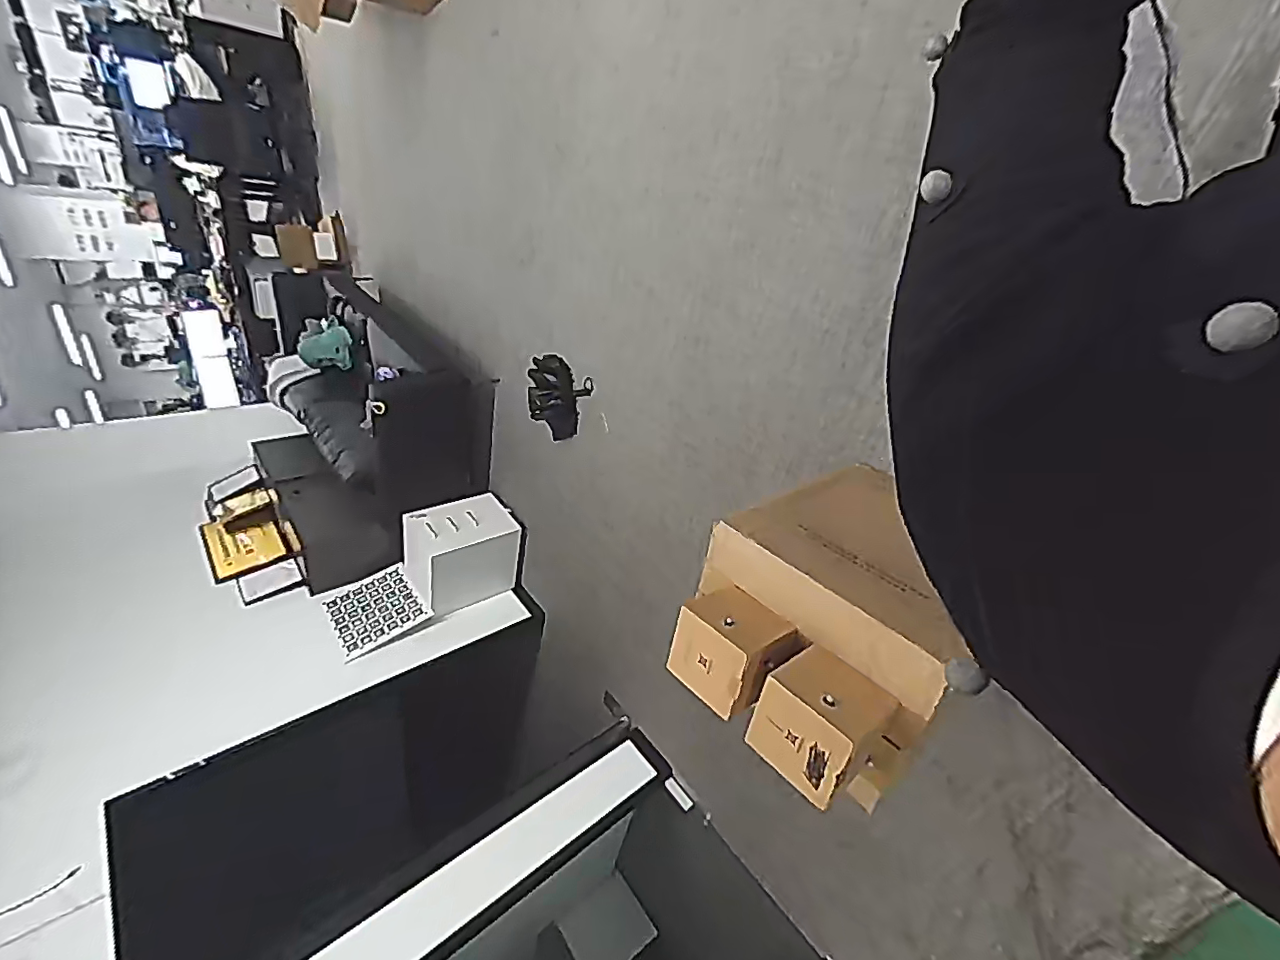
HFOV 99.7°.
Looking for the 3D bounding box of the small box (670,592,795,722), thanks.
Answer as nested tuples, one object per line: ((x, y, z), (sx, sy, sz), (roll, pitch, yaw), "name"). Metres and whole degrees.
((0.193, 0.354, 1.122), (0.179, 0.176, 0.168), (31, 119, 41), "small box")

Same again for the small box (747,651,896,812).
((0.332, 0.443, 0.985), (0.179, 0.176, 0.168), (32, 120, 40), "small box")
